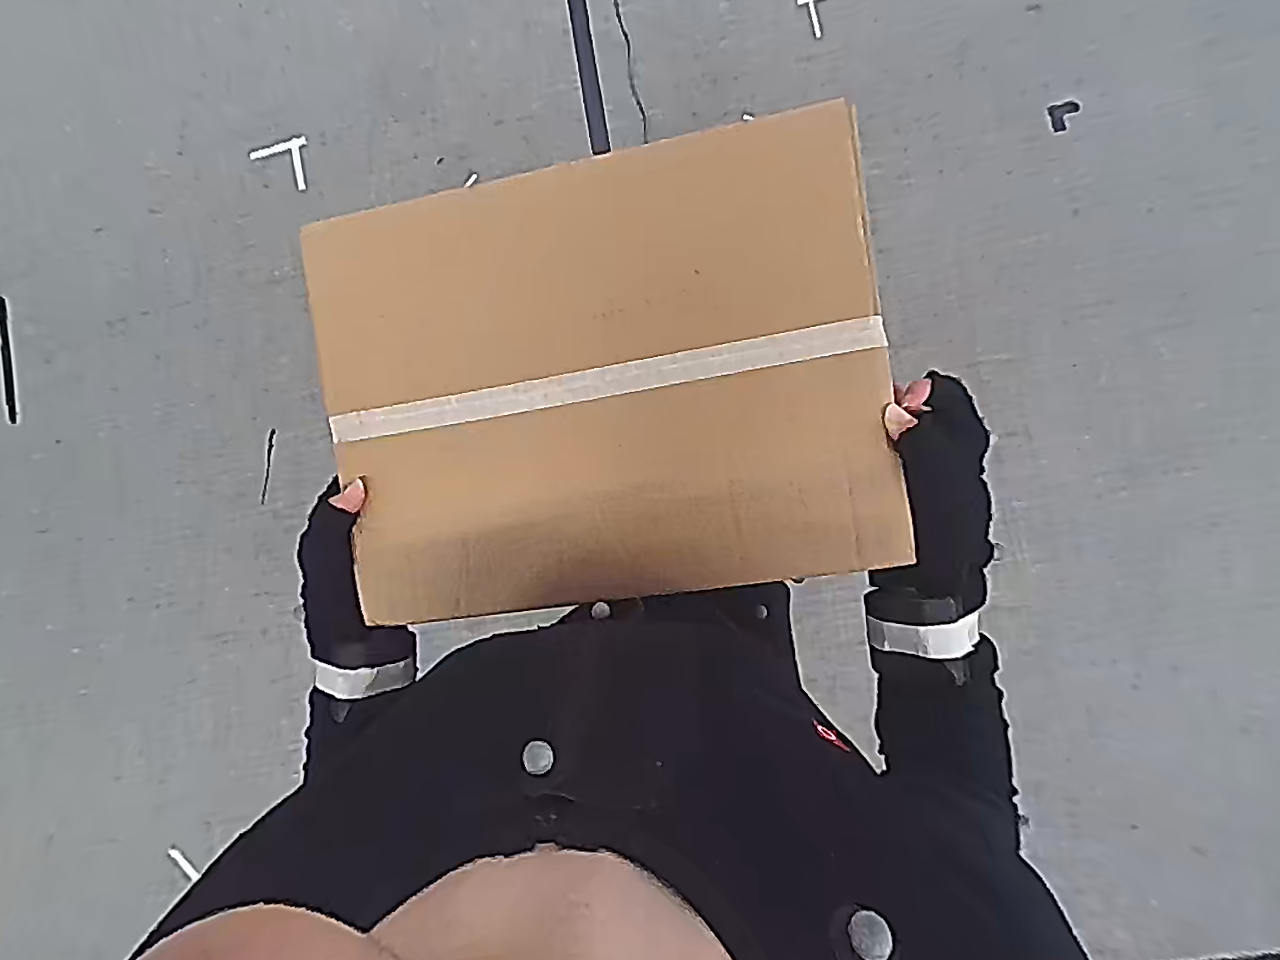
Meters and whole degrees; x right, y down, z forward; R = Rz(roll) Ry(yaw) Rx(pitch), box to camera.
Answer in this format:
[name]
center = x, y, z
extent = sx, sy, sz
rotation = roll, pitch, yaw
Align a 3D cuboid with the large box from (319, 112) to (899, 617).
[large box]
center = -0.014, -0.079, 0.546
extent = 0.408, 0.320, 0.320
rotation = -8, 91, 8
